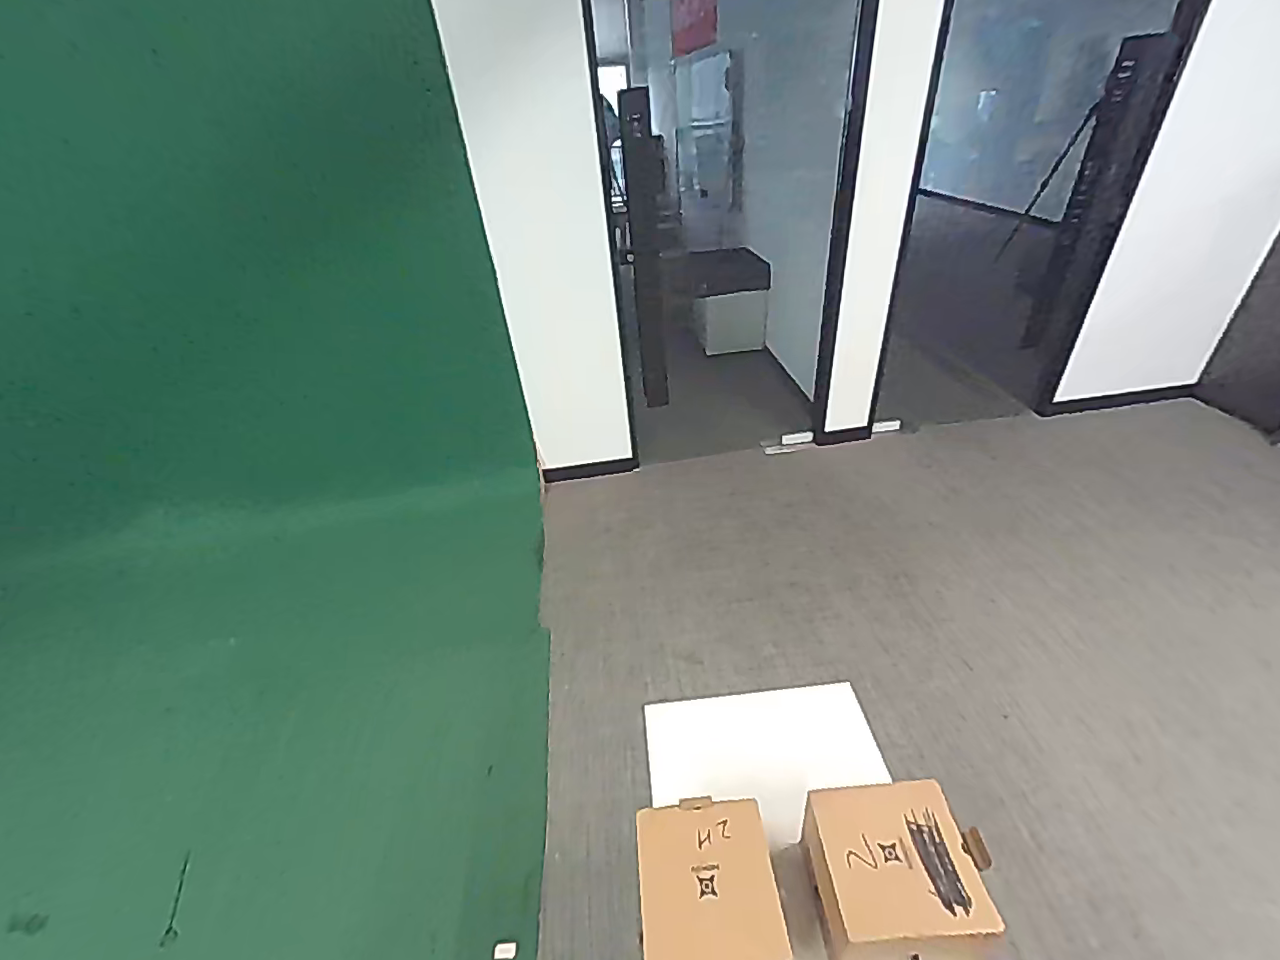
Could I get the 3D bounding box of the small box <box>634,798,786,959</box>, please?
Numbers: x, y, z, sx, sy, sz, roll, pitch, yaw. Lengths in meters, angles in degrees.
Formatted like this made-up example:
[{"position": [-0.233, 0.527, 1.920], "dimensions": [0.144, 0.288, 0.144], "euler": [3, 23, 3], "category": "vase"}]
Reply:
[{"position": [0.082, 0.549, 0.703], "dimensions": [0.168, 0.176, 0.179], "euler": [-4, 35, -1], "category": "small box"}]
